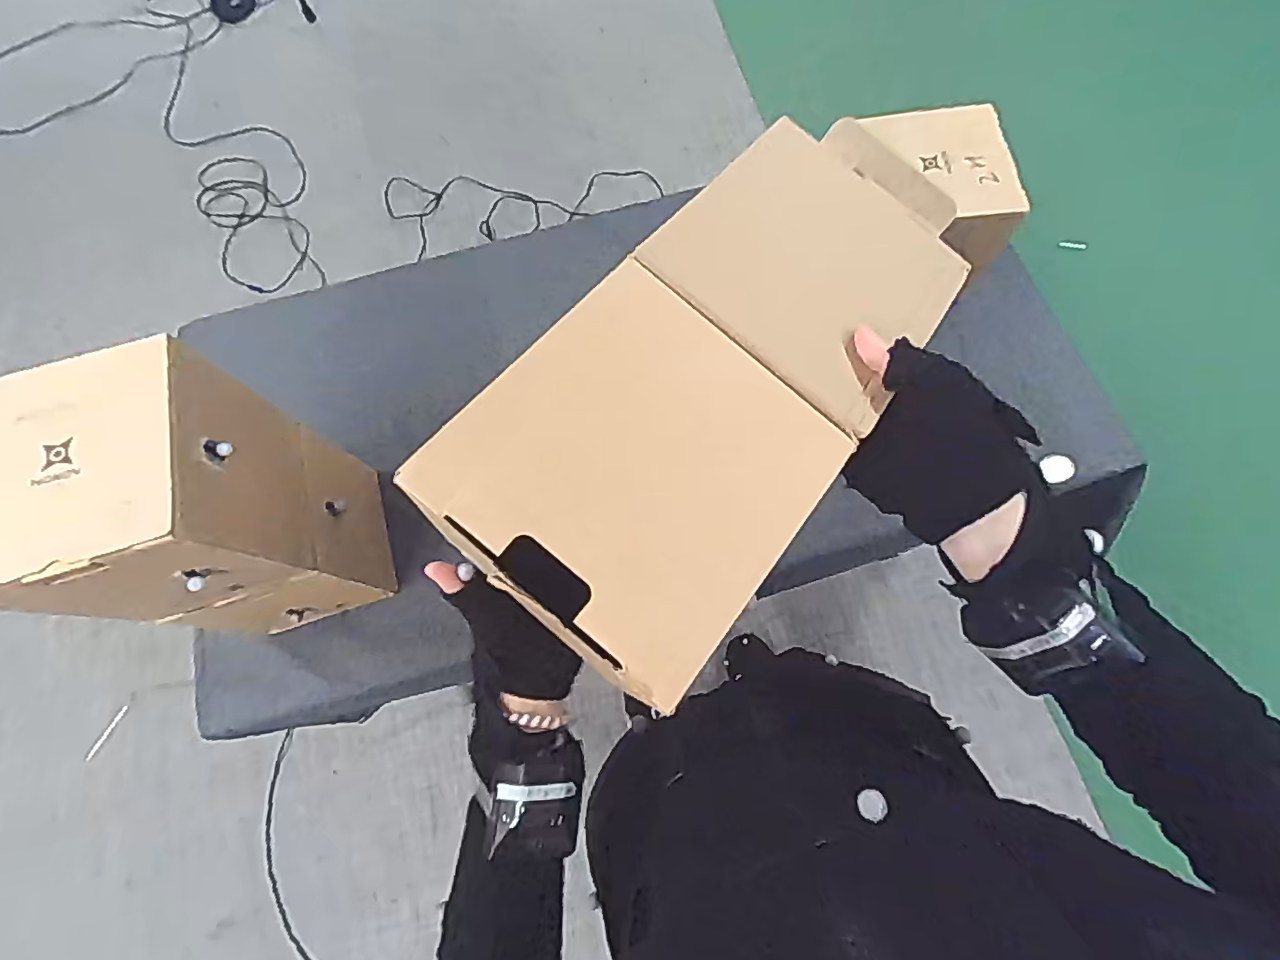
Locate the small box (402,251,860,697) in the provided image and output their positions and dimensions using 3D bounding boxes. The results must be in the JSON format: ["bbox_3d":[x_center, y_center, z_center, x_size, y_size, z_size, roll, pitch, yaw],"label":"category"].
[{"bbox_3d":[-0.008,0.008,0.341,0.168,0.176,0.179,39,69,3],"label":"small box"}]

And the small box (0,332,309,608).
[{"bbox_3d":[-0.420,0.007,0.473,0.168,0.176,0.179,-16,72,-3],"label":"small box"}]

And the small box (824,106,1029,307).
[{"bbox_3d":[0.355,-0.348,0.714,0.179,0.176,0.168,-4,73,2],"label":"small box"}]

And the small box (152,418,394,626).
[{"bbox_3d":[-0.412,0.058,0.628,0.168,0.176,0.179,-18,72,-3],"label":"small box"}]
